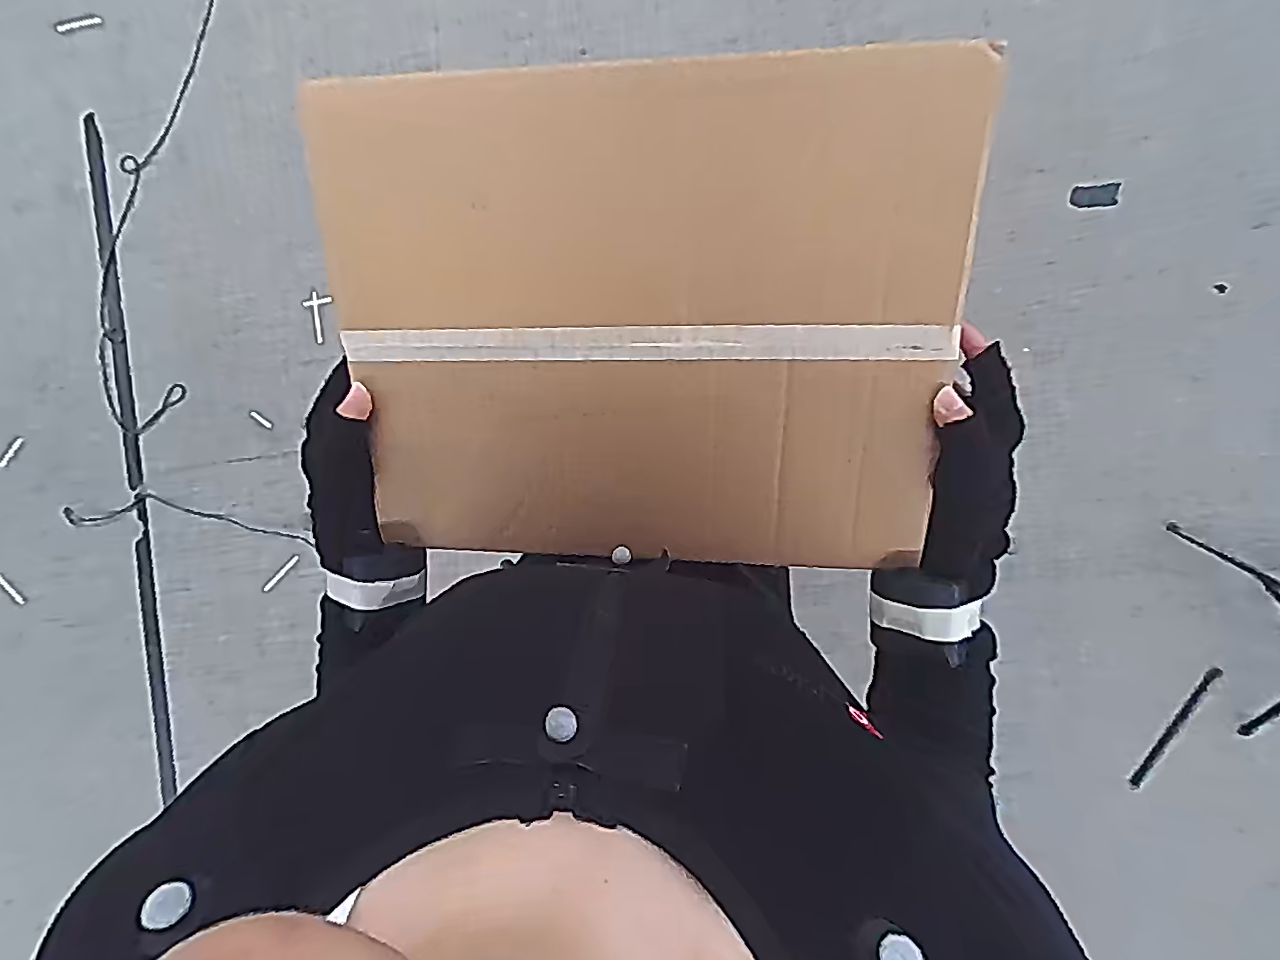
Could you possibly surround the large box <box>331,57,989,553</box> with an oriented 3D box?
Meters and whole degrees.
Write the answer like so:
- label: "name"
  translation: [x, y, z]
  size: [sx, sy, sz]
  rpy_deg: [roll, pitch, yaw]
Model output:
- label: "large box"
  translation: [0.016, -0.141, 0.509]
  size: [0.408, 0.320, 0.320]
  rpy_deg: [2, 111, 6]
